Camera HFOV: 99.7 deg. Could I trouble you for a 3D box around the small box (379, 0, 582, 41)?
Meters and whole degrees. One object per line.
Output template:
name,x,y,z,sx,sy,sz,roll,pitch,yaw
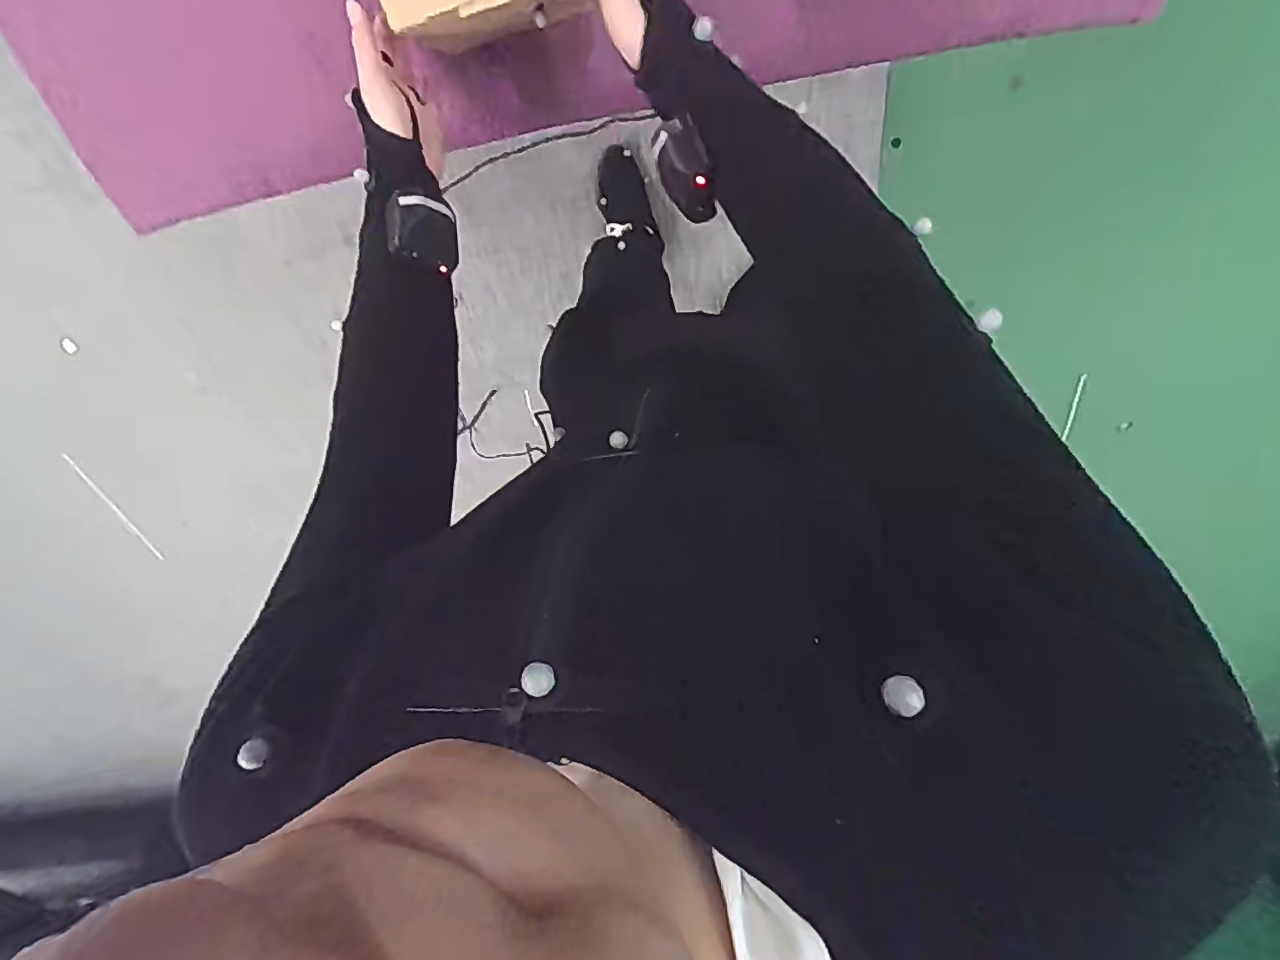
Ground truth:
small box,-0.149,-0.503,0.460,0.168,0.176,0.179,-12,124,9
